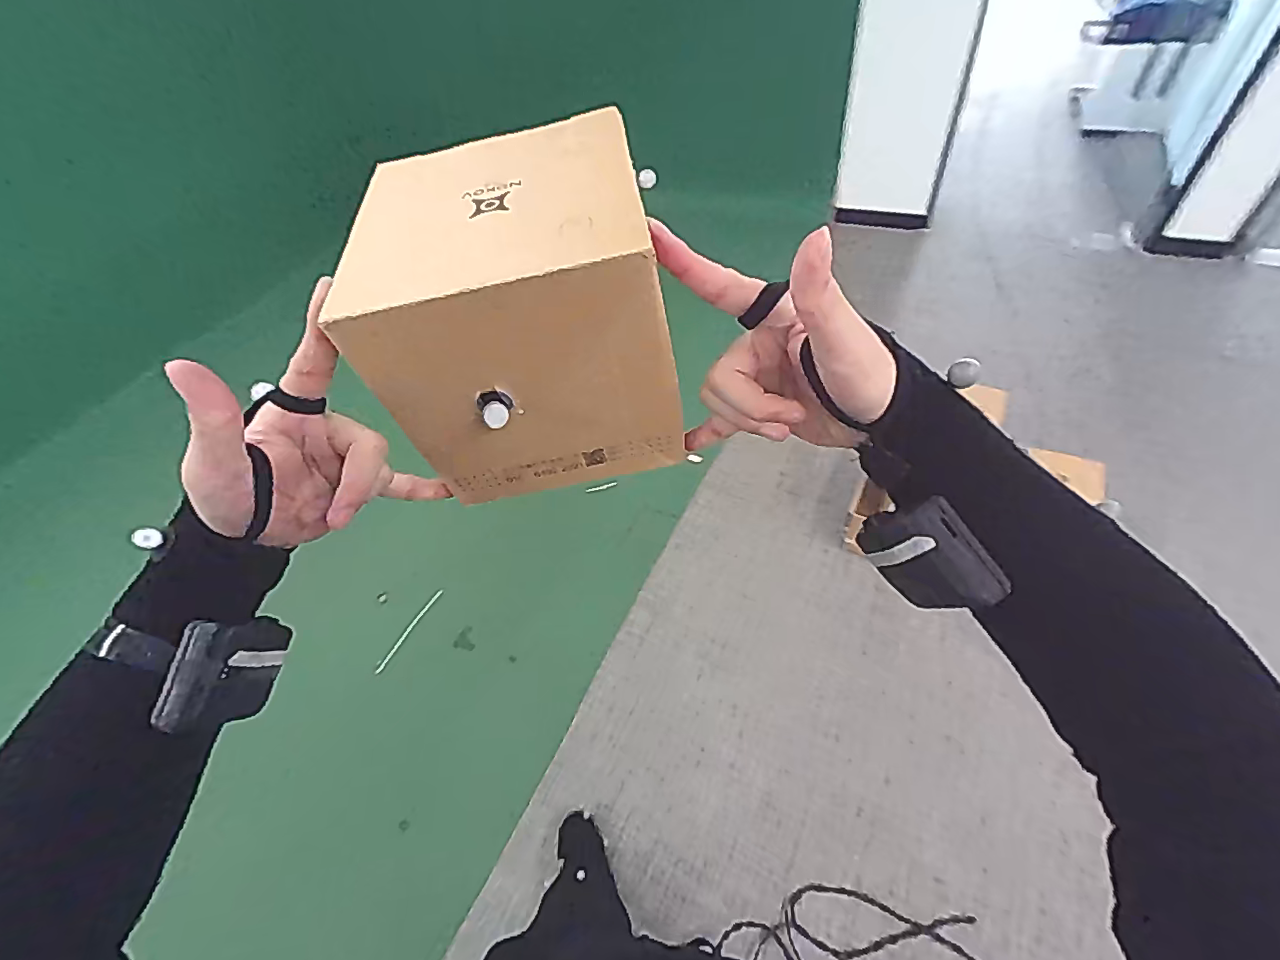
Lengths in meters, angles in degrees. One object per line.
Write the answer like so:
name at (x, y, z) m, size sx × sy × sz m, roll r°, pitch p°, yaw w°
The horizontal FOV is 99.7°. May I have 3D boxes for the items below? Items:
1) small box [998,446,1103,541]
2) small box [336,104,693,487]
small box at (1.090, 0.040, 1.447) m, size 0.179 × 0.176 × 0.168 m, roll 18°, pitch 59°, yaw 23°
small box at (-0.063, -0.111, 0.367) m, size 0.168 × 0.176 × 0.179 m, roll -11°, pitch 52°, yaw 4°
